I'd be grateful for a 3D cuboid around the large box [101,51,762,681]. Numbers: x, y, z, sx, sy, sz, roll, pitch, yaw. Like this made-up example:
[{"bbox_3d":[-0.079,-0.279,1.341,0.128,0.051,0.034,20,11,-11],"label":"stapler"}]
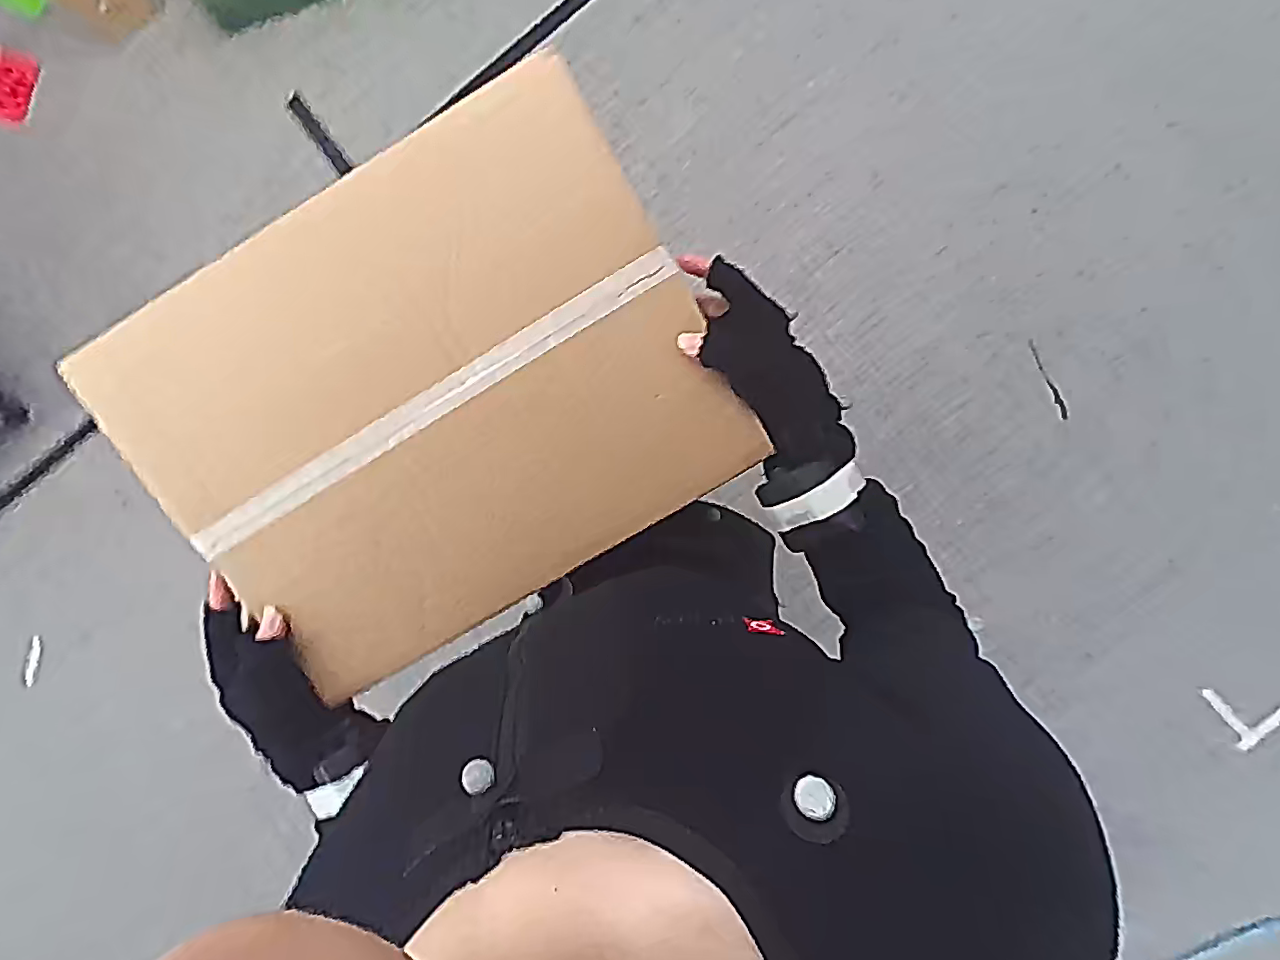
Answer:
[{"bbox_3d":[-0.154,-0.087,0.548,0.408,0.320,0.320,-30,101,4],"label":"large box"}]
